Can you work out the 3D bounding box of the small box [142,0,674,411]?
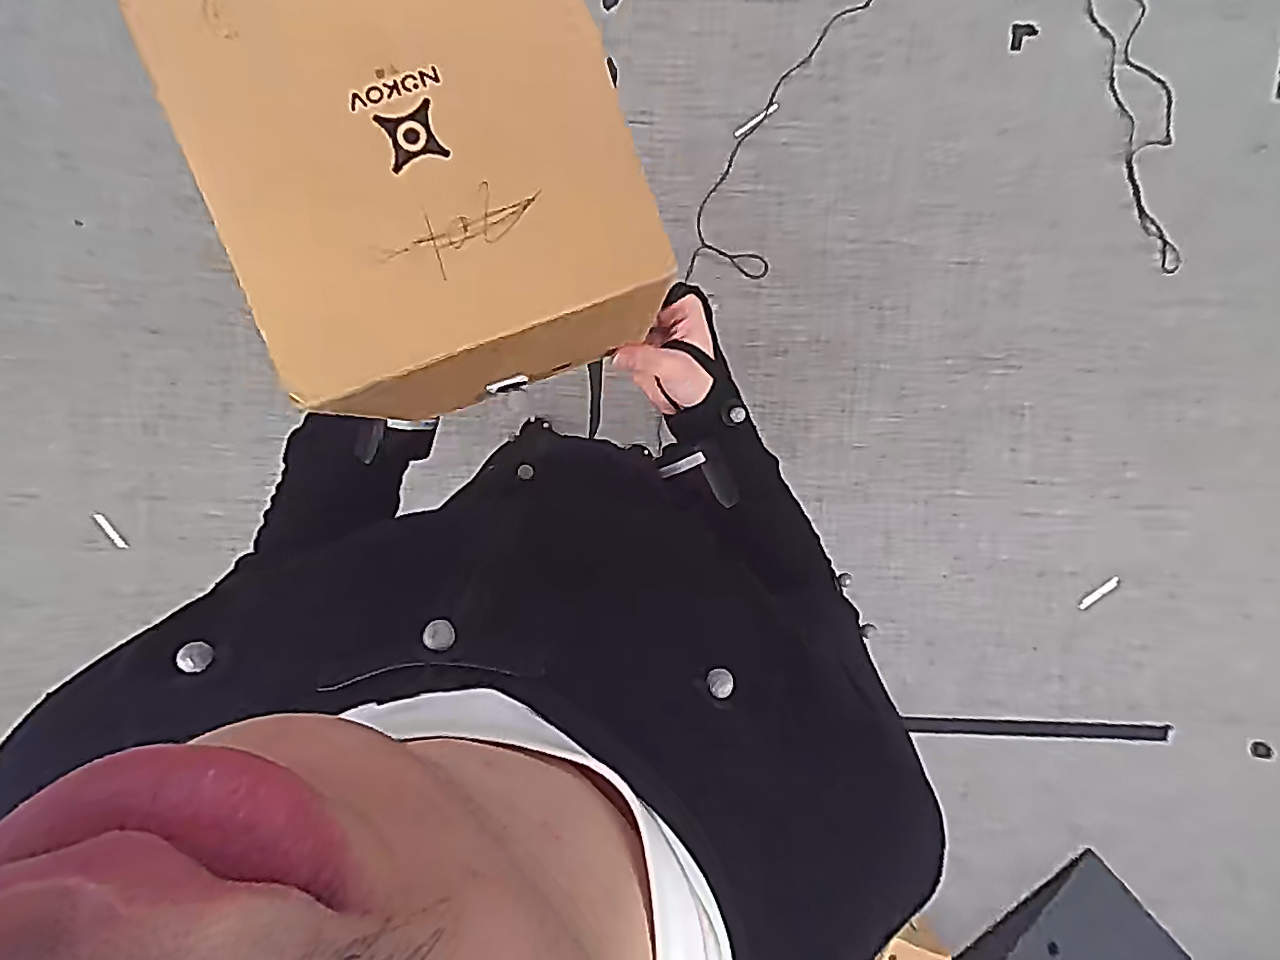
[{"bbox_3d":[-0.097,-0.149,0.302,0.168,0.176,0.179,-22,96,-2],"label":"small box"}]
